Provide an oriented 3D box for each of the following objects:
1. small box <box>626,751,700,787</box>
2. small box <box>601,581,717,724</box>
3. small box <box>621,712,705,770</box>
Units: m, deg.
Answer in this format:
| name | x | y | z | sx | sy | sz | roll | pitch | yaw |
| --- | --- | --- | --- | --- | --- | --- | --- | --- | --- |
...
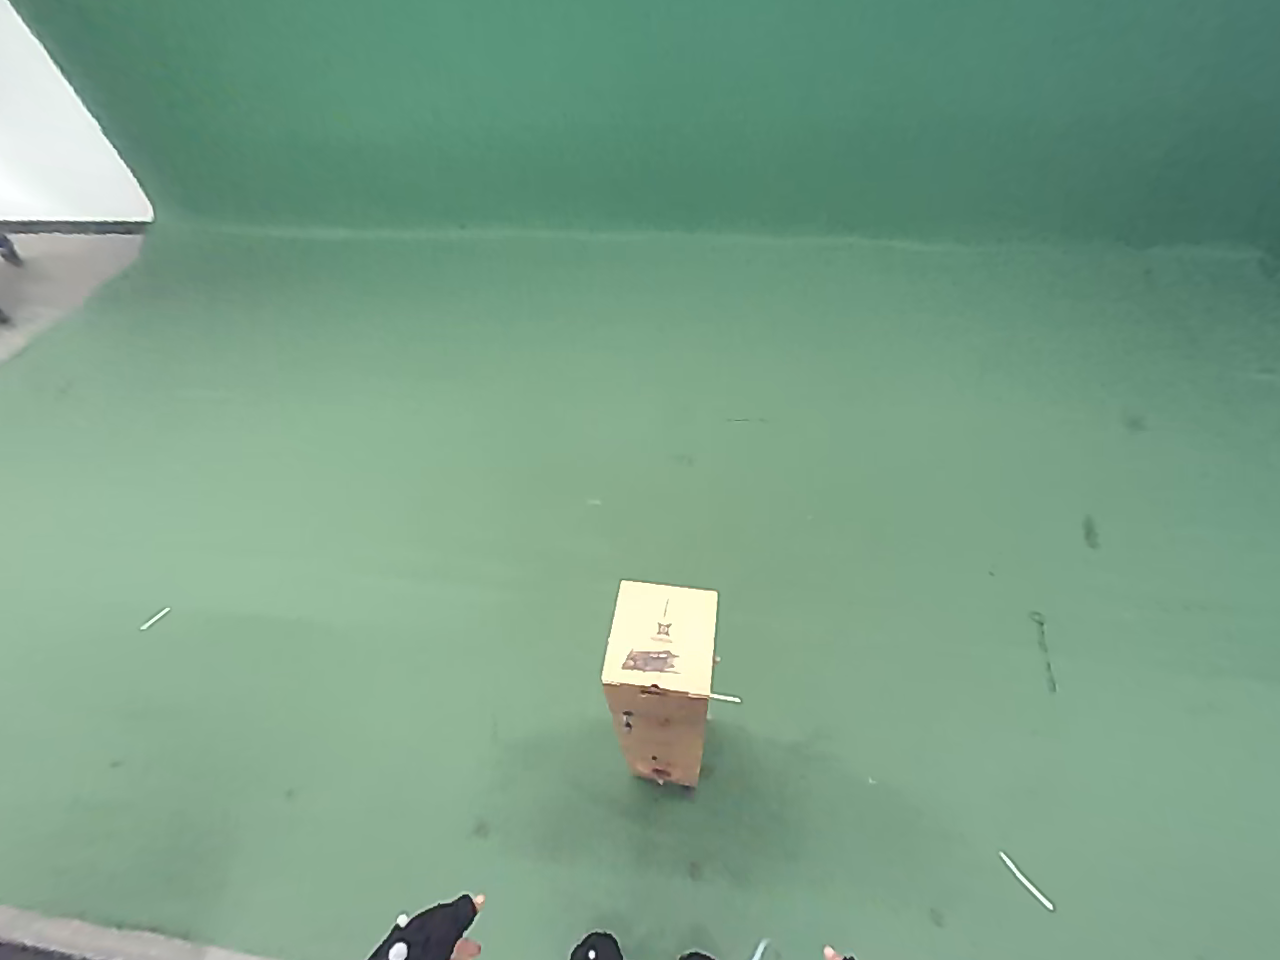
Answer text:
| name | x | y | z | sx | sy | sz | roll | pitch | yaw |
| --- | --- | --- | --- | --- | --- | --- | --- | --- | --- |
| small box | 0.067 | 0.610 | 1.296 | 0.168 | 0.176 | 0.179 | 6 | 51 | 9 |
| small box | 0.039 | 0.296 | 0.919 | 0.168 | 0.176 | 0.179 | 5 | 50 | 8 |
| small box | 0.056 | 0.506 | 1.172 | 0.168 | 0.176 | 0.179 | 5 | 51 | 8 |
